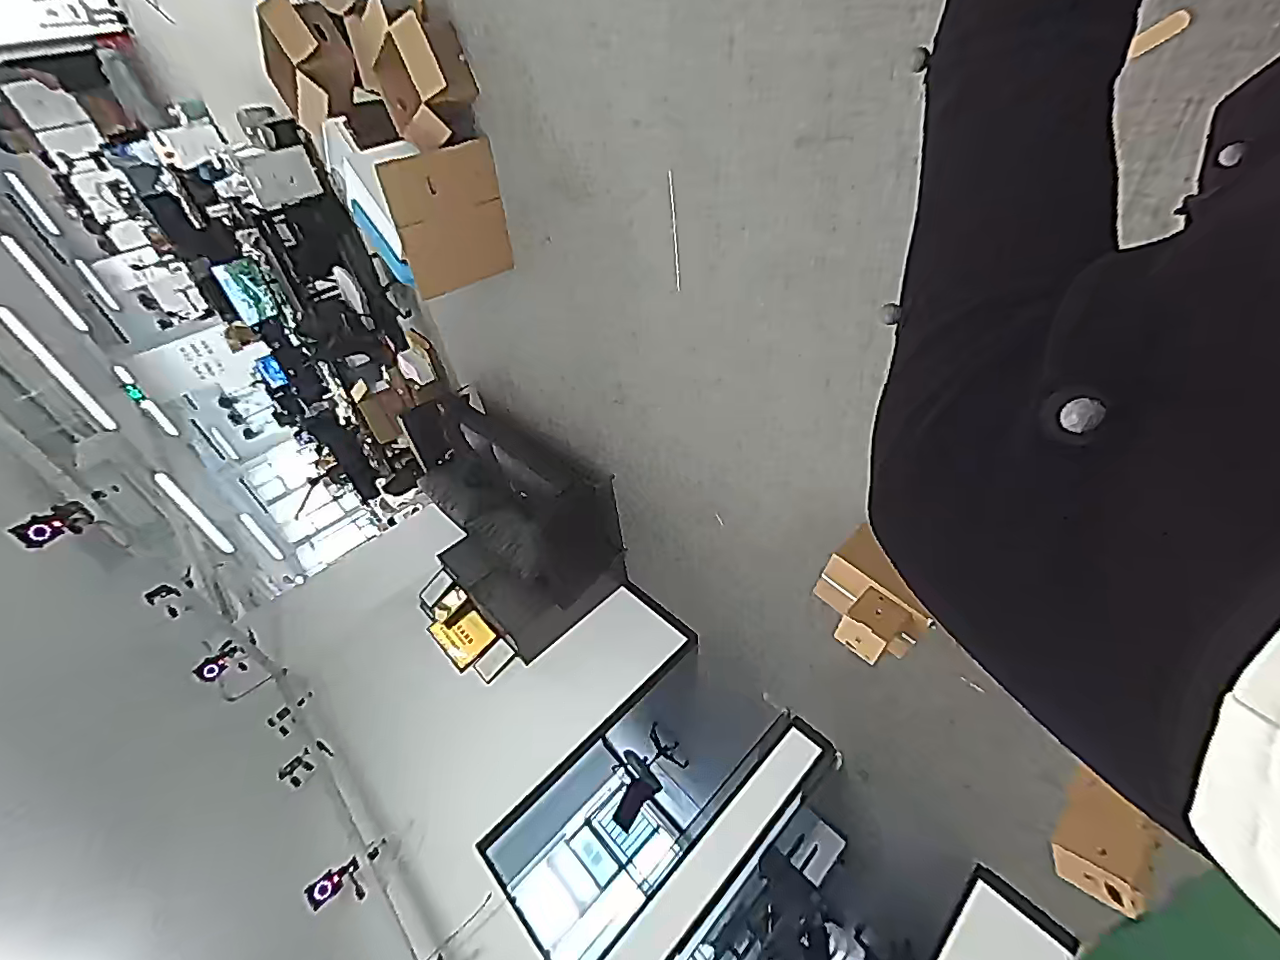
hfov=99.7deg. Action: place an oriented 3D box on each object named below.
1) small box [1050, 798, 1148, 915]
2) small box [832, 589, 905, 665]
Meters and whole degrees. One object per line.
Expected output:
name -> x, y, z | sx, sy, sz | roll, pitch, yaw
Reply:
small box -> 1.286, 1.039, 1.510 | 0.179, 0.176, 0.168 | 8, 128, 54
small box -> 0.842, 0.533, 1.983 | 0.168, 0.176, 0.179 | 36, 146, 30
